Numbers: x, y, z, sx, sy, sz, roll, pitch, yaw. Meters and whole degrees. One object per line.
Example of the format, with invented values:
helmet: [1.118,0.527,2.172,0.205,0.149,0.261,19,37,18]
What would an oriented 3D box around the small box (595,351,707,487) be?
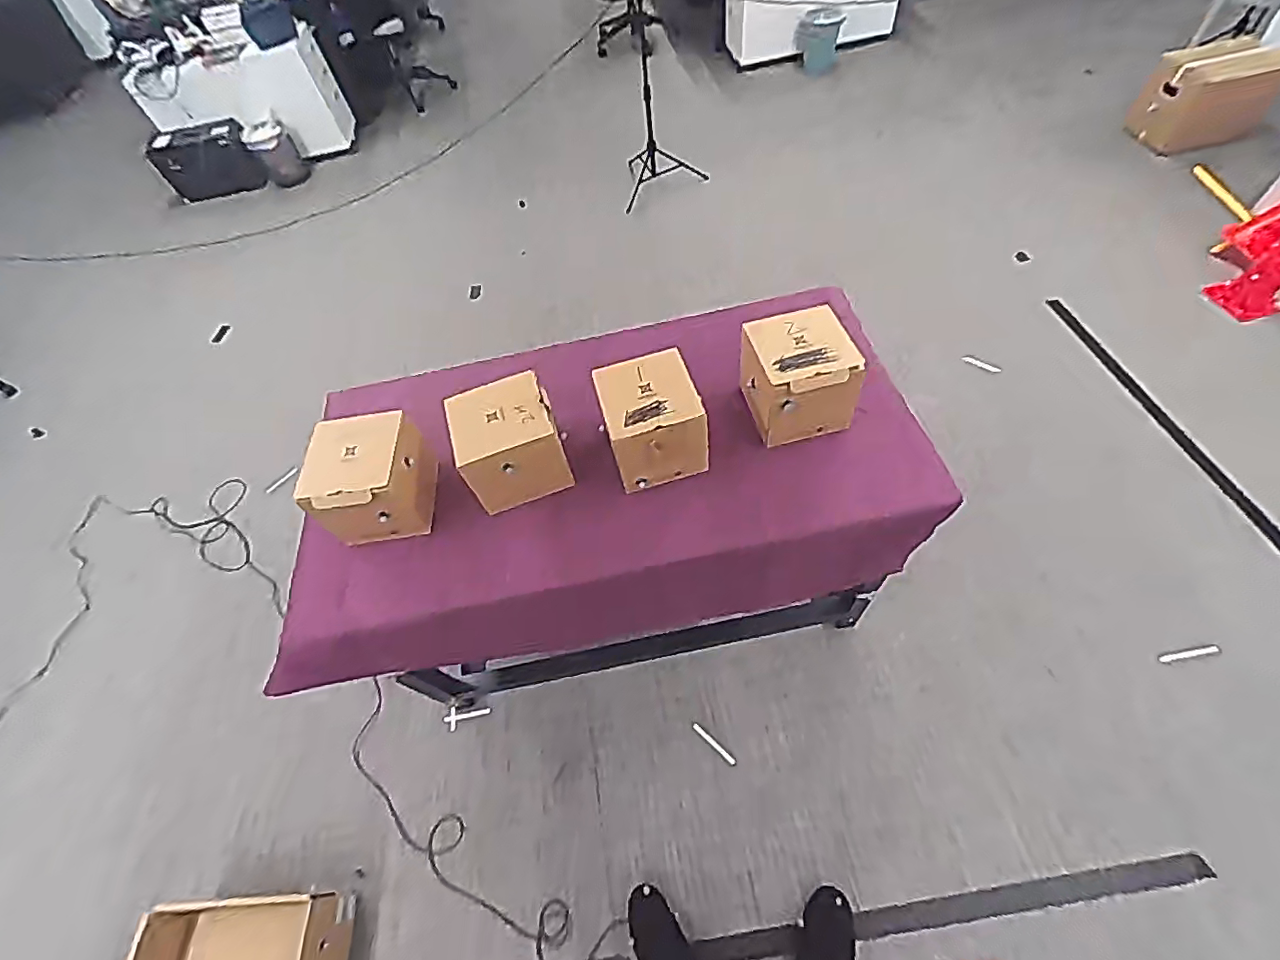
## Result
small box: [0.025,-0.105,1.010,0.168,0.176,0.179,-16,55,-3]

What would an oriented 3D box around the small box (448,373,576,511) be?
small box: [-0.238,-0.066,1.020,0.179,0.176,0.168,-19,57,-5]

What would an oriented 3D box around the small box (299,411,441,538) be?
small box: [-0.491,-0.002,1.014,0.168,0.176,0.179,-7,56,2]
